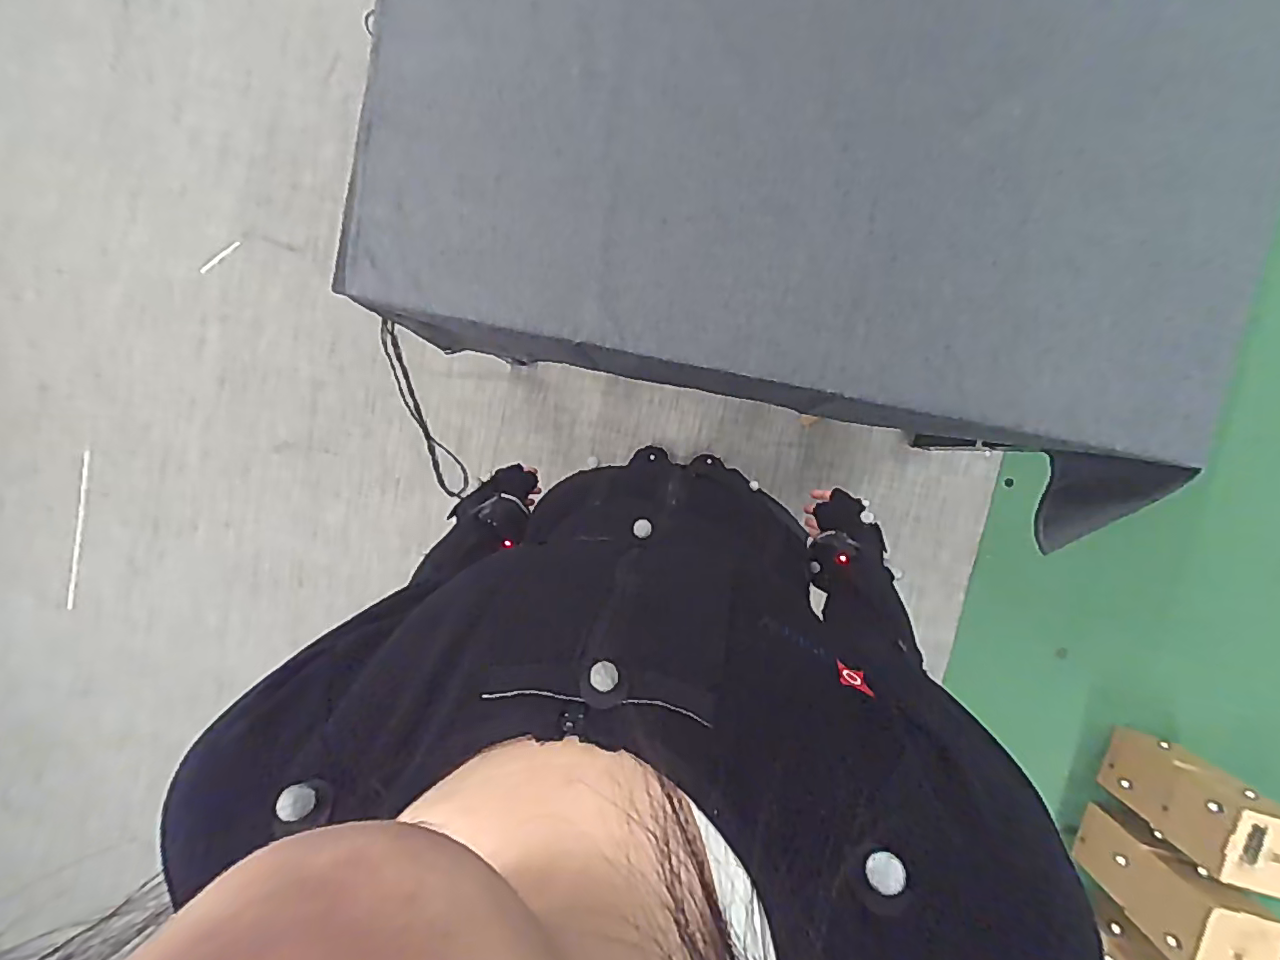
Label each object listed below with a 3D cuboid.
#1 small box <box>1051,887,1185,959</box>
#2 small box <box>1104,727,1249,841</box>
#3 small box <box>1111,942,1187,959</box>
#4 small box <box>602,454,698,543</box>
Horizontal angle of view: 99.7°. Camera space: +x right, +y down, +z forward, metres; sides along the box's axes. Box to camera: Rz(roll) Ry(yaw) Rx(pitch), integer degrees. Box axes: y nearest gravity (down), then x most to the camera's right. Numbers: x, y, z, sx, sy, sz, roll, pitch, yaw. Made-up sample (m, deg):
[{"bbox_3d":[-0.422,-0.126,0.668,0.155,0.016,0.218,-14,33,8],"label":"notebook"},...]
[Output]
[{"bbox_3d":[1.228,1.207,1.402,0.179,0.176,0.168,13,95,3],"label":"small box"},{"bbox_3d":[1.339,0.756,1.366,0.179,0.176,0.168,17,95,3],"label":"small box"},{"bbox_3d":[1.215,1.218,1.239,0.179,0.176,0.168,12,95,3],"label":"small box"},{"bbox_3d":[0.023,0.047,1.431,0.168,0.176,0.179,-43,74,16],"label":"small box"}]
